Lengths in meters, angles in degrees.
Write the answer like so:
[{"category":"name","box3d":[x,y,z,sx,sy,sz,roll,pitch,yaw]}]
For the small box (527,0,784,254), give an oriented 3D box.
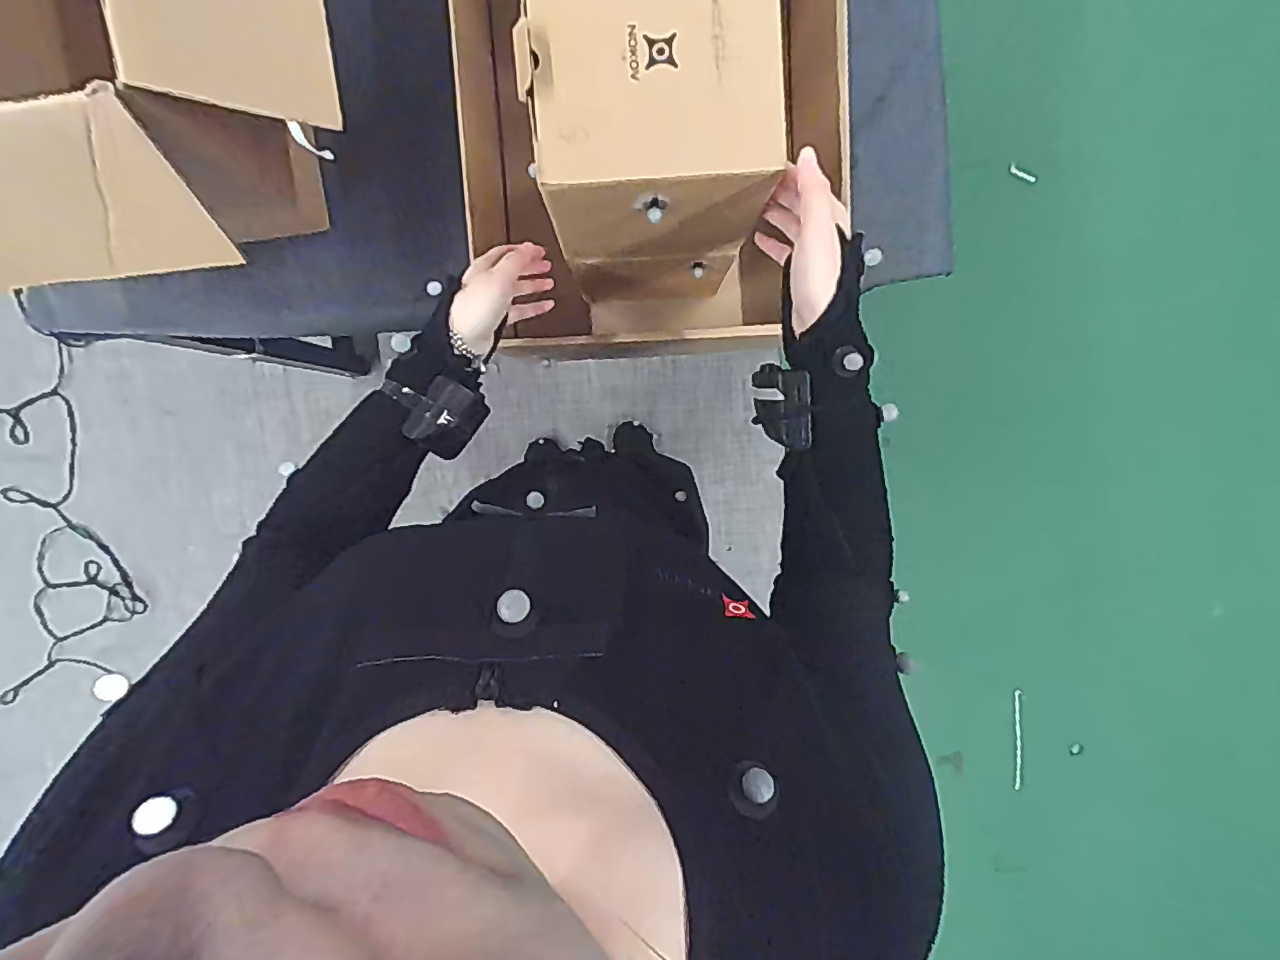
[{"category":"small box","box3d":[0.010,-0.301,0.456,0.179,0.176,0.168,-4,97,-2]}]
